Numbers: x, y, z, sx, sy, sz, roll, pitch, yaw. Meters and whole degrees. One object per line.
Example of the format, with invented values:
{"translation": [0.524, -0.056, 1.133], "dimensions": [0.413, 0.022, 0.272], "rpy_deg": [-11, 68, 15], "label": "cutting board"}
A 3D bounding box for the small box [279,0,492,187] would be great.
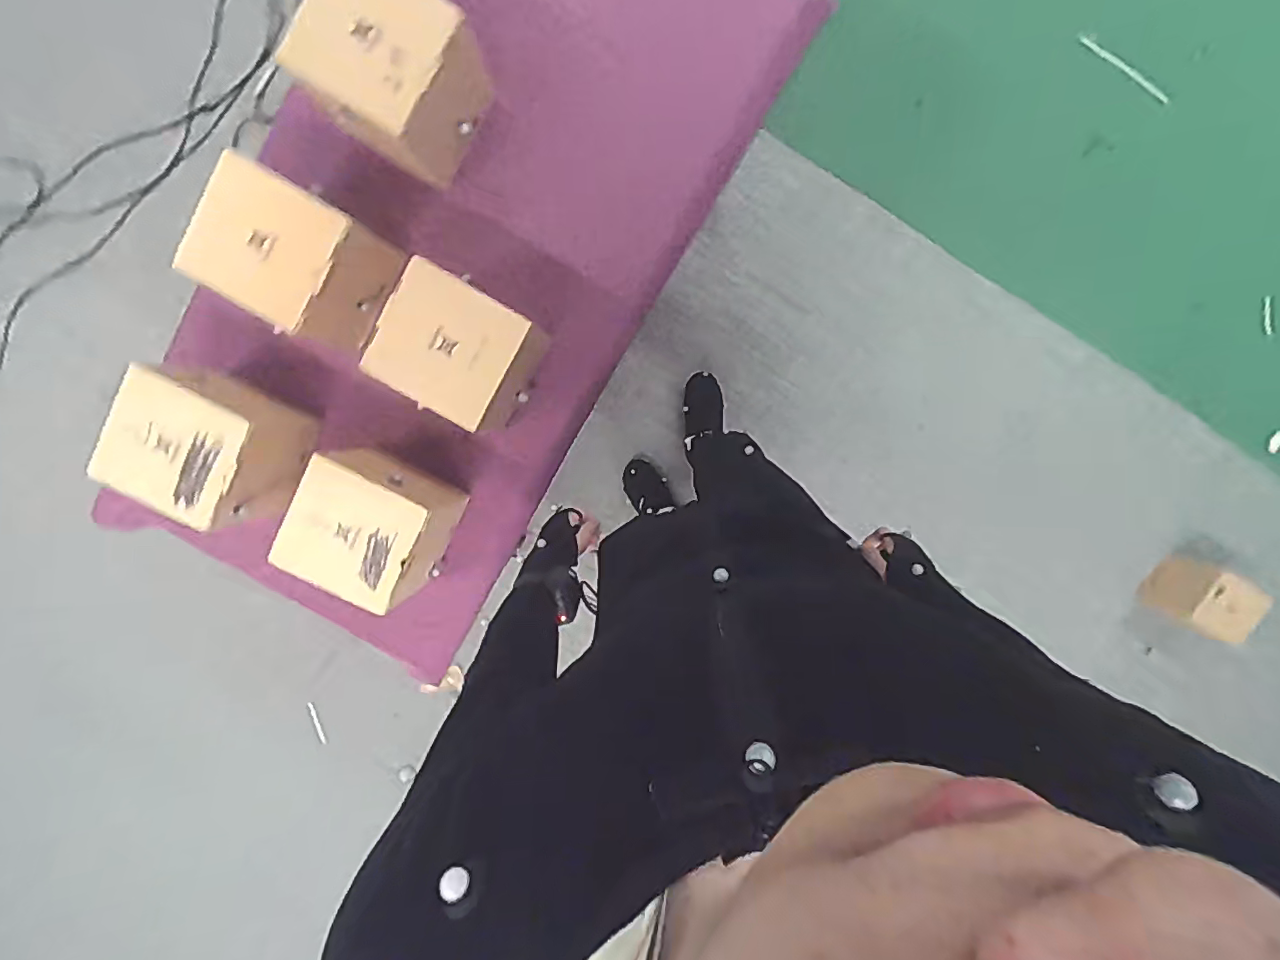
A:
{"translation": [-0.336, -0.547, 0.749], "dimensions": [0.179, 0.176, 0.168], "rpy_deg": [31, 97, -3], "label": "small box"}

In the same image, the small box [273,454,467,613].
{"translation": [-0.392, 0.068, 0.819], "dimensions": [0.179, 0.176, 0.168], "rpy_deg": [27, 96, 0], "label": "small box"}

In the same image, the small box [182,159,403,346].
{"translation": [-0.485, -0.310, 0.781], "dimensions": [0.179, 0.176, 0.168], "rpy_deg": [29, 96, -4], "label": "small box"}

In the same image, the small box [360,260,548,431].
{"translation": [-0.258, -0.184, 0.792], "dimensions": [0.179, 0.176, 0.168], "rpy_deg": [30, 97, -3], "label": "small box"}

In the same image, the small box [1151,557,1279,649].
{"translation": [1.654, 0.344, 1.553], "dimensions": [0.179, 0.176, 0.168], "rpy_deg": [32, 96, -4], "label": "small box"}
